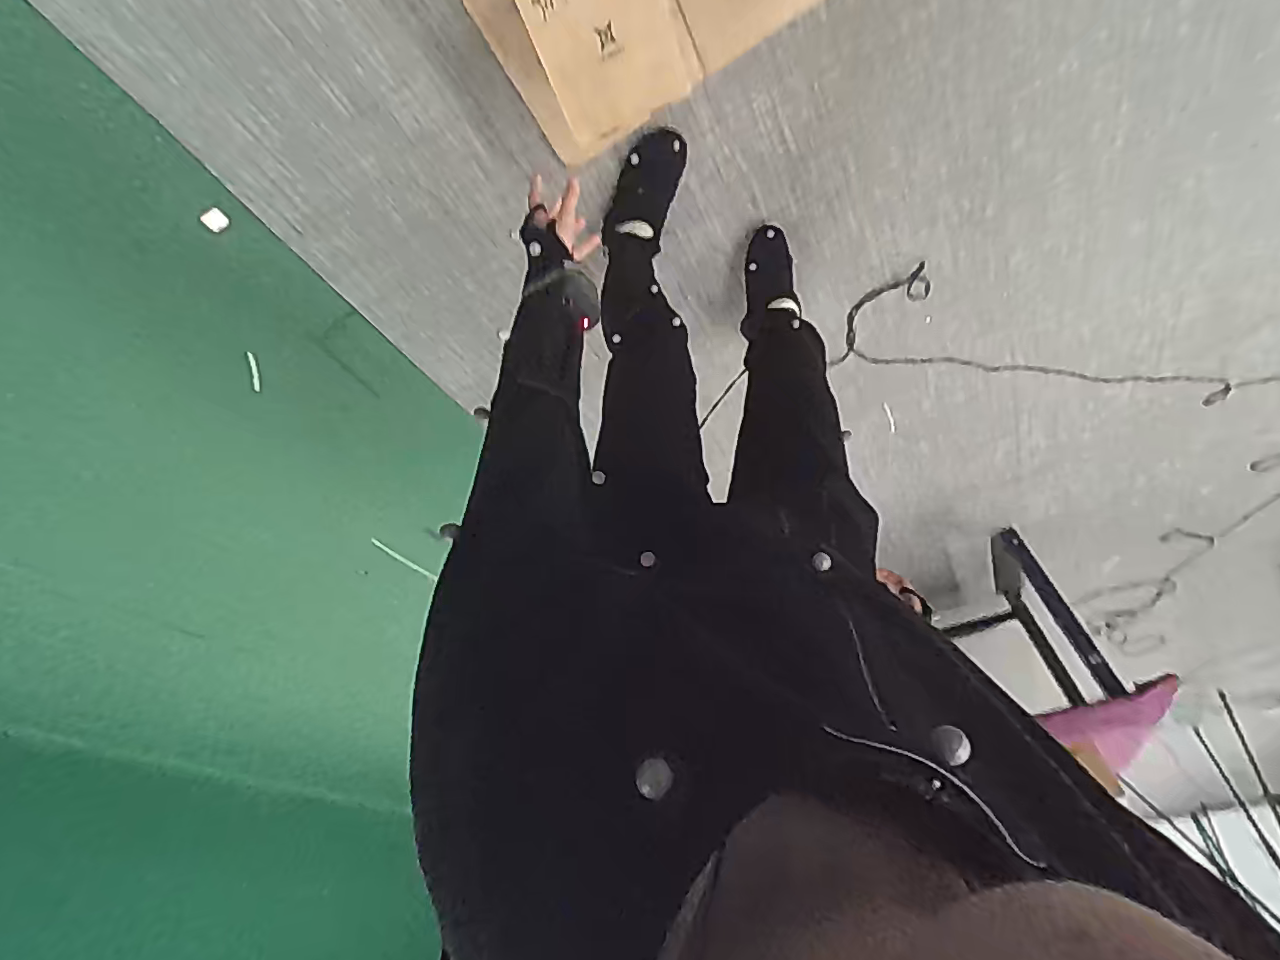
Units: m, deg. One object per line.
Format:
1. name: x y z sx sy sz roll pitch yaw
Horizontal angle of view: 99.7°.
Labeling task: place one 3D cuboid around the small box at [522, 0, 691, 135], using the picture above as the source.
1. small box: -0.045 -0.593 0.698 0.168 0.176 0.179 -18 136 11

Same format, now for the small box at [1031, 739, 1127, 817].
1. small box: 1.327 0.908 1.648 0.168 0.176 0.179 -24 134 18
